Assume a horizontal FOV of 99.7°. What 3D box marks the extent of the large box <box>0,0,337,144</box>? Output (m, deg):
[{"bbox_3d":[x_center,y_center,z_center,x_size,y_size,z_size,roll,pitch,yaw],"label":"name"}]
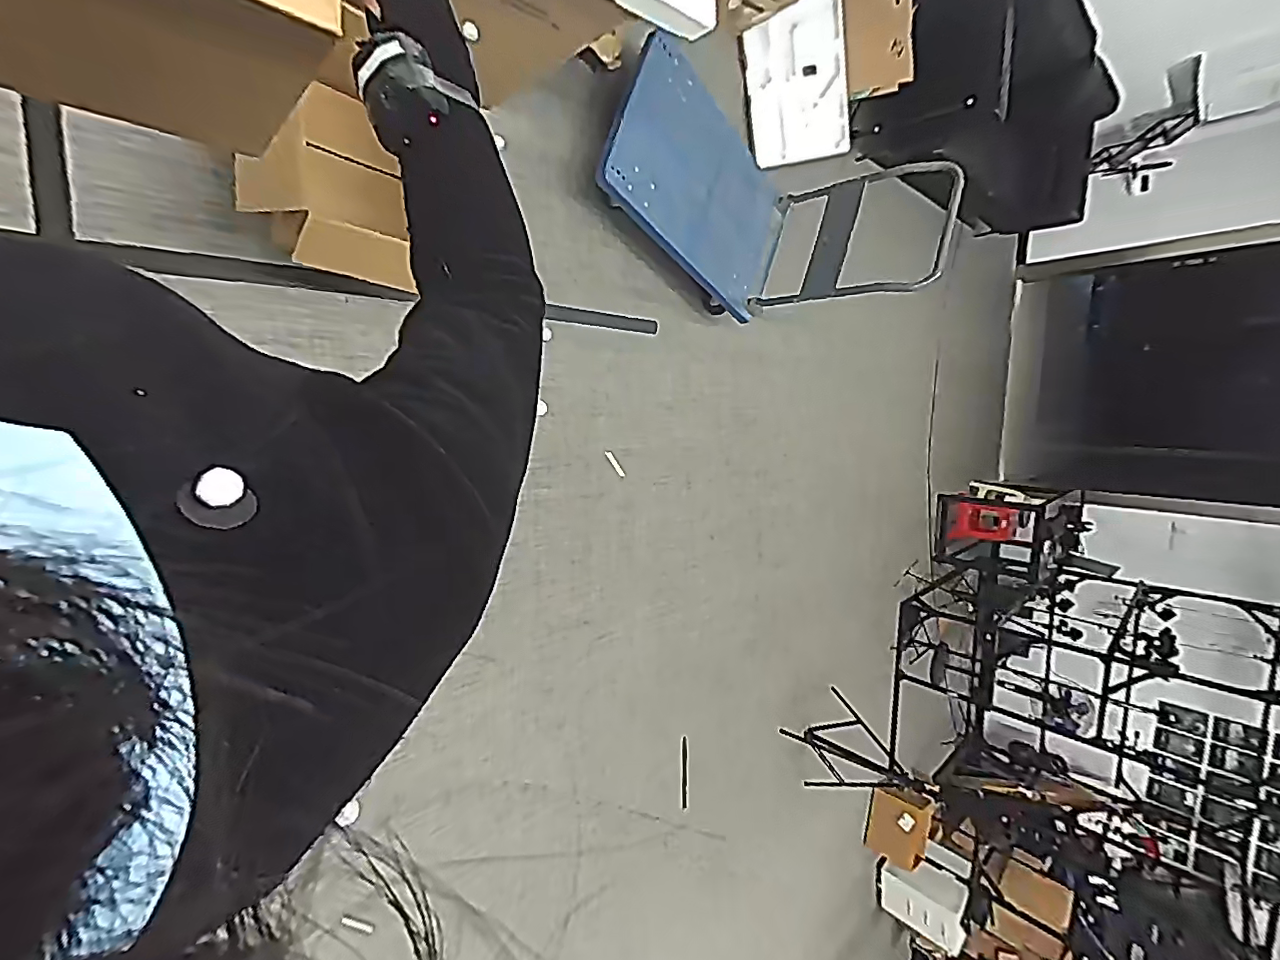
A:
[{"bbox_3d":[-0.478,-0.492,0.364,0.408,0.320,0.320,-8,101,-44],"label":"large box"}]
